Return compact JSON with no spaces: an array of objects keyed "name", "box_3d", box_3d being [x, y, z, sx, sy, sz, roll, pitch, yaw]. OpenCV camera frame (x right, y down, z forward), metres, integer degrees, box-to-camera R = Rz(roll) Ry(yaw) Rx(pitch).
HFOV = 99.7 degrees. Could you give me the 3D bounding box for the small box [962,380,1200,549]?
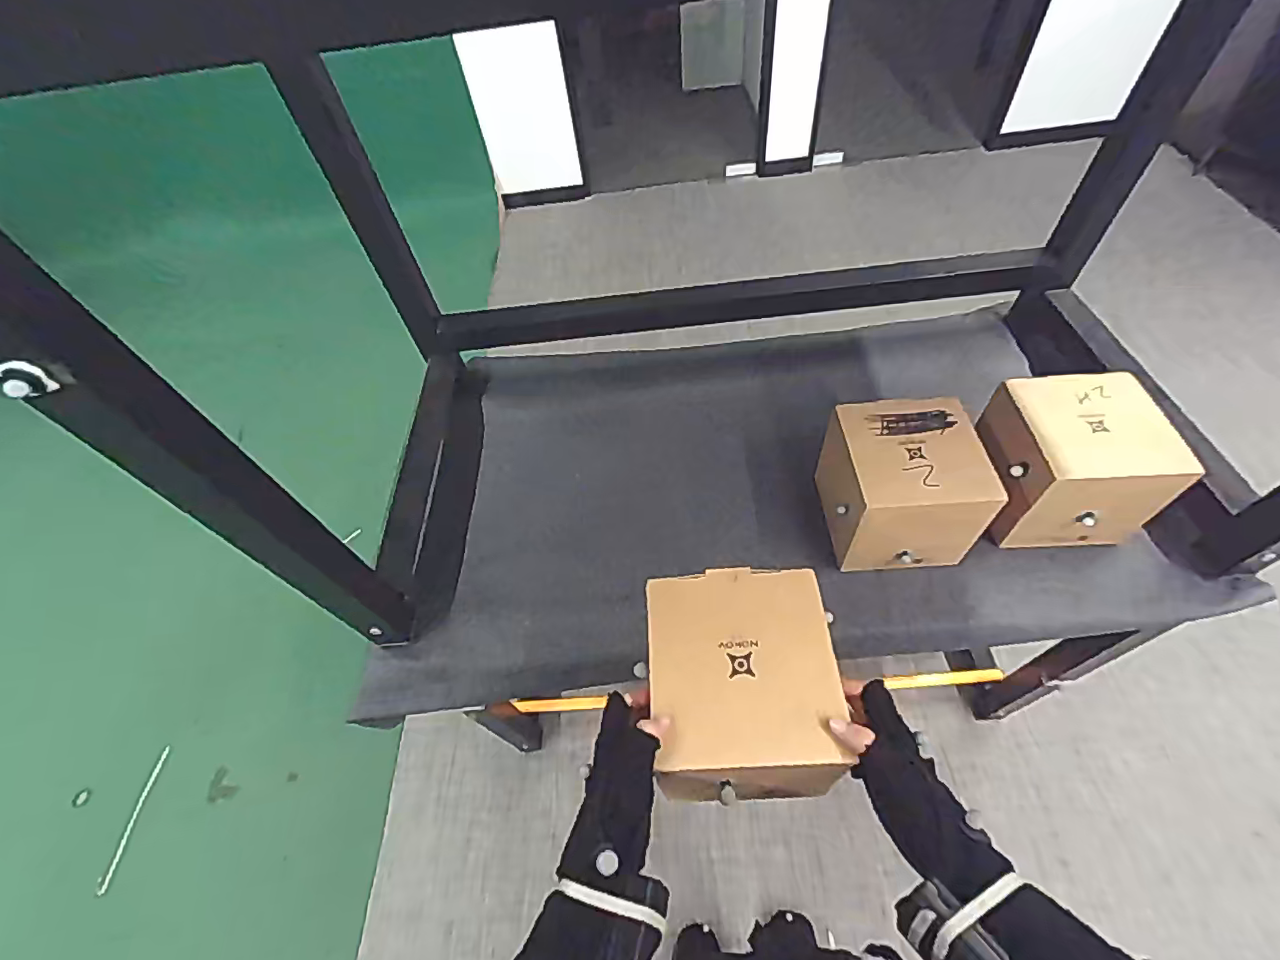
[{"name":"small box","box_3d":[0.584,-0.014,0.750,0.168,0.176,0.179,-2,52,6]}]
